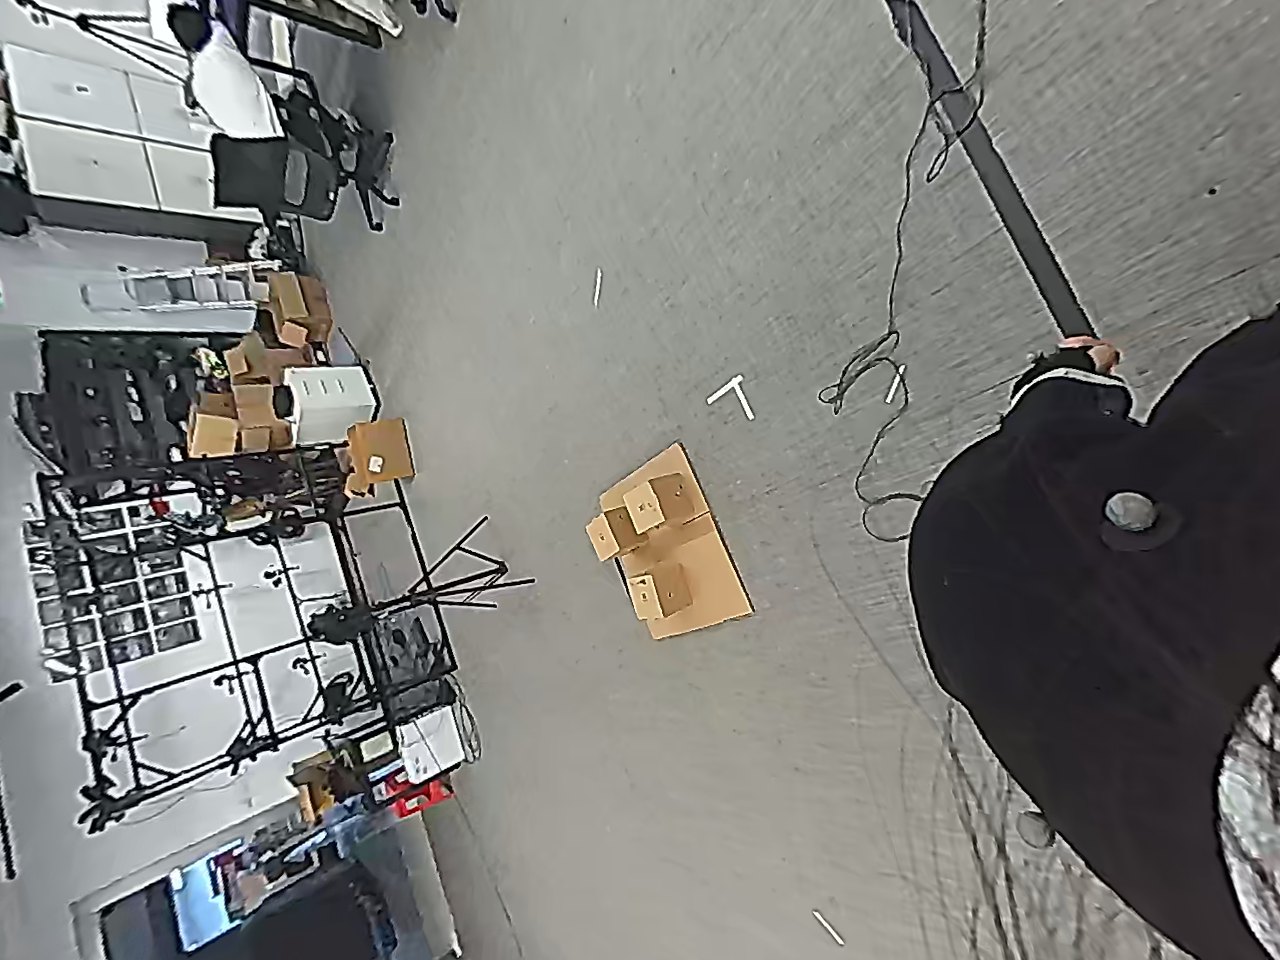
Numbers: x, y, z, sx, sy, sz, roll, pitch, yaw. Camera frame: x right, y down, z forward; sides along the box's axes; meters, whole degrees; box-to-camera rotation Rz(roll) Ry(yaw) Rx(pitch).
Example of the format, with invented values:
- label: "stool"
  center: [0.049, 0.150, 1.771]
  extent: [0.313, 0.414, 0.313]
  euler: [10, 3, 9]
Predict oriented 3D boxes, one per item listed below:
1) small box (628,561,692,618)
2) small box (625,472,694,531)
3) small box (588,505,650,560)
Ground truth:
- label: "small box"
  center: [0.085, 0.440, 2.174]
  extent: [0.168, 0.176, 0.179]
  euler: [-20, 87, 48]
- label: "small box"
  center: [0.076, 0.082, 2.093]
  extent: [0.179, 0.176, 0.168]
  euler: [-32, 77, 46]
- label: "small box"
  center: [-0.090, 0.218, 2.315]
  extent: [0.168, 0.176, 0.179]
  euler: [-40, 70, 47]
